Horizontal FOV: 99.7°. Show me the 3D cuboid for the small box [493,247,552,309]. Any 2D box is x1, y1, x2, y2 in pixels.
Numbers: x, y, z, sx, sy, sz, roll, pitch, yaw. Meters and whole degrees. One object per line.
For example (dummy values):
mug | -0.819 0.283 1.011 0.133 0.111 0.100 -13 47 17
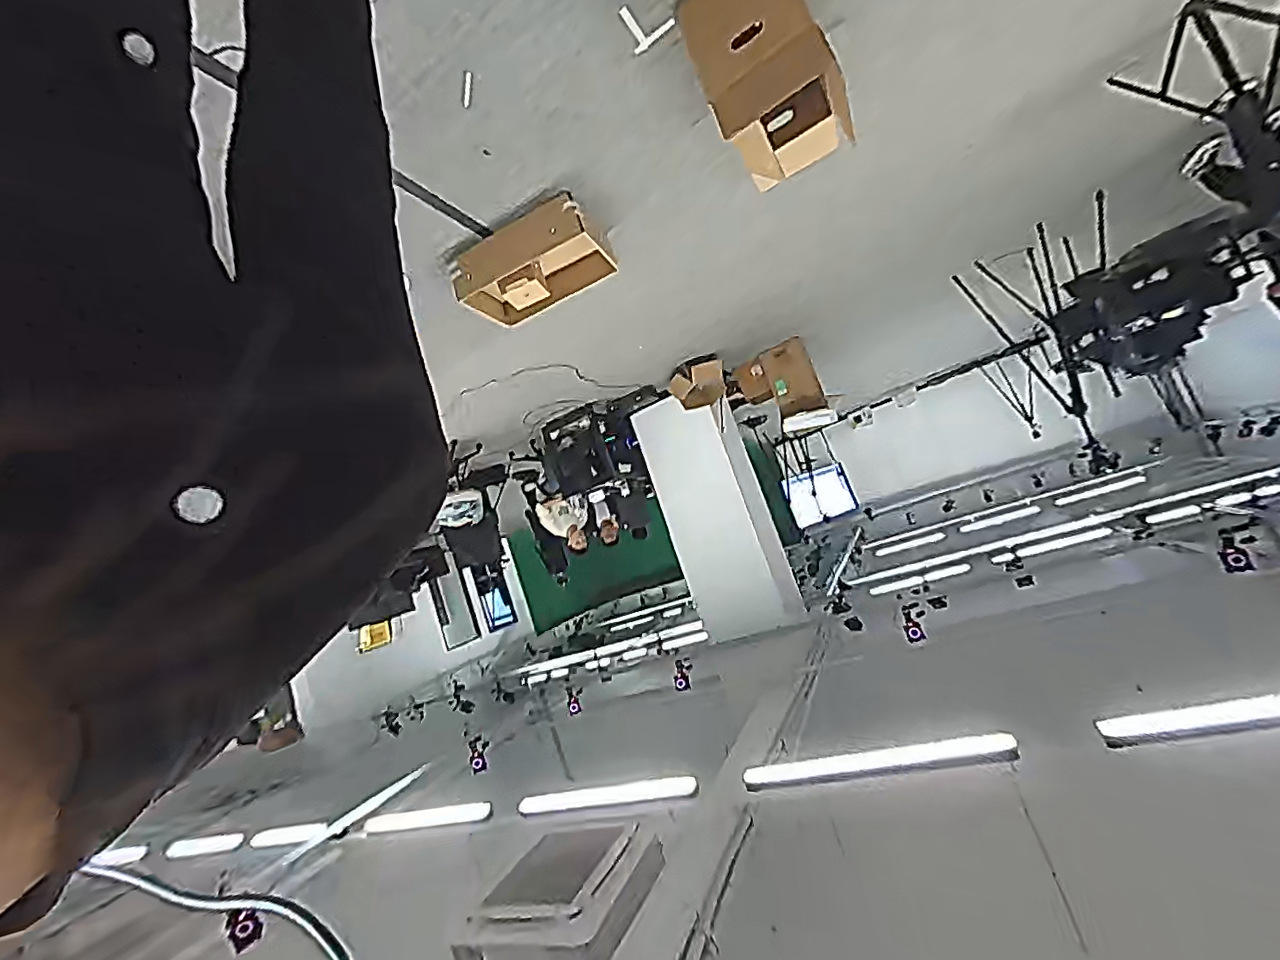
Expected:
small box | -0.502 -0.868 2.313 0.168 0.176 0.179 -21 173 10
